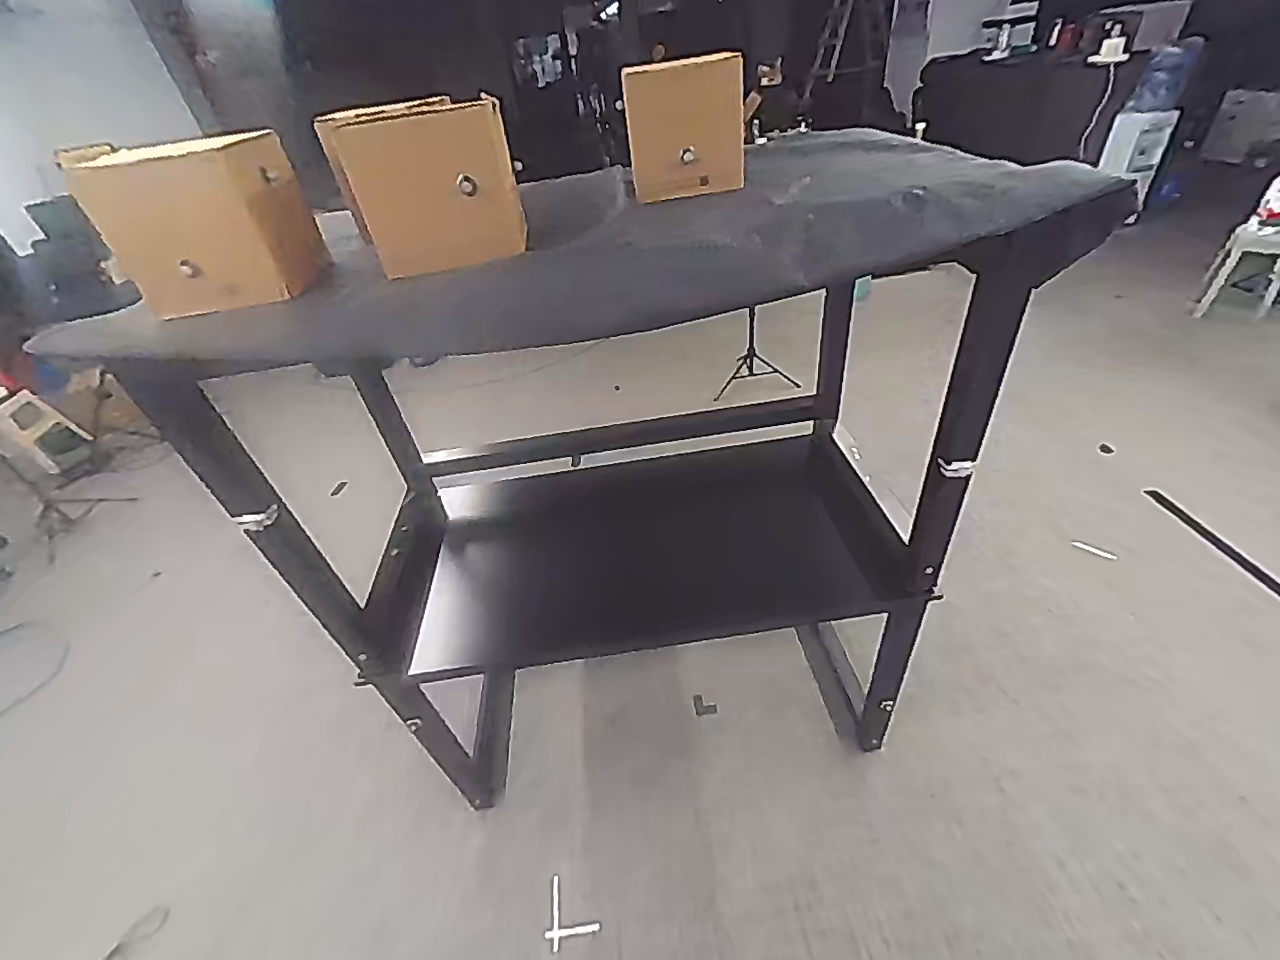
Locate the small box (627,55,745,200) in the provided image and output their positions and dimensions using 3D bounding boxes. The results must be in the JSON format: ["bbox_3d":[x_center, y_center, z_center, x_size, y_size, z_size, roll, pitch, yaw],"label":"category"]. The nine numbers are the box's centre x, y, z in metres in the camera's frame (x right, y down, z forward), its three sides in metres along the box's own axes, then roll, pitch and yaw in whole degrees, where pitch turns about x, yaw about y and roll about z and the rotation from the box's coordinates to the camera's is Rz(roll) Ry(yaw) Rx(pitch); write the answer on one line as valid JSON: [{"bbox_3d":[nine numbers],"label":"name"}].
[{"bbox_3d":[0.070,-0.559,0.862,0.168,0.176,0.179,-7,39,3],"label":"small box"}]

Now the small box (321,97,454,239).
[{"bbox_3d":[-0.370,-0.503,0.878,0.168,0.176,0.179,-8,38,0],"label":"small box"}]

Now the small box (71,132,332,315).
[{"bbox_3d":[-0.527,-0.328,0.689,0.168,0.176,0.179,-11,39,-3],"label":"small box"}]

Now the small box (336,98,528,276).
[{"bbox_3d":[-0.248,-0.381,0.702,0.179,0.176,0.168,-10,37,-2],"label":"small box"}]
